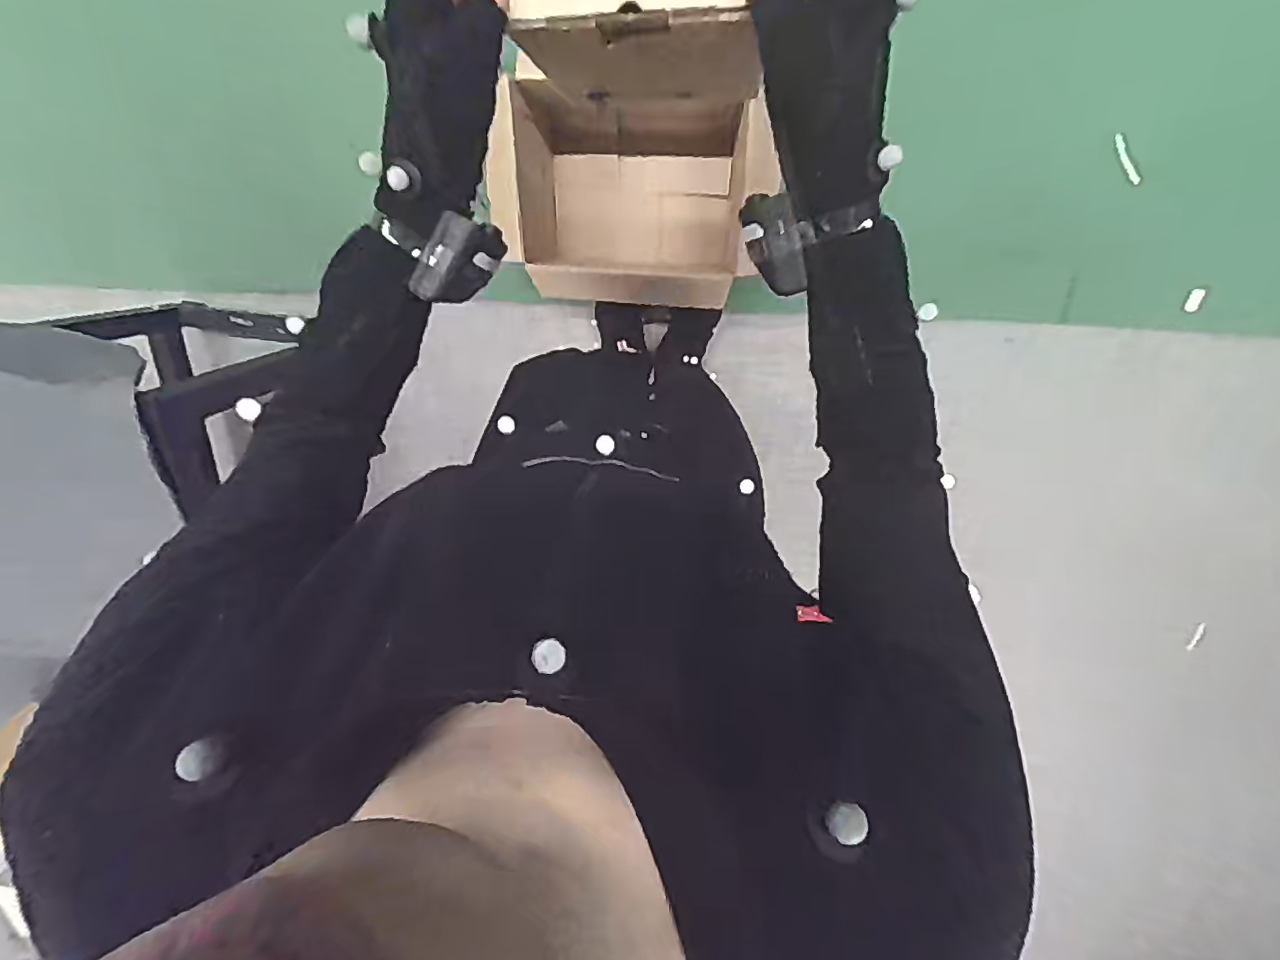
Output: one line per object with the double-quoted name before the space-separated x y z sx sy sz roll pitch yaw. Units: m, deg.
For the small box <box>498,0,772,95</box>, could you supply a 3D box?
"small box" 0.008 -0.376 0.356 0.168 0.176 0.179 3 110 7
